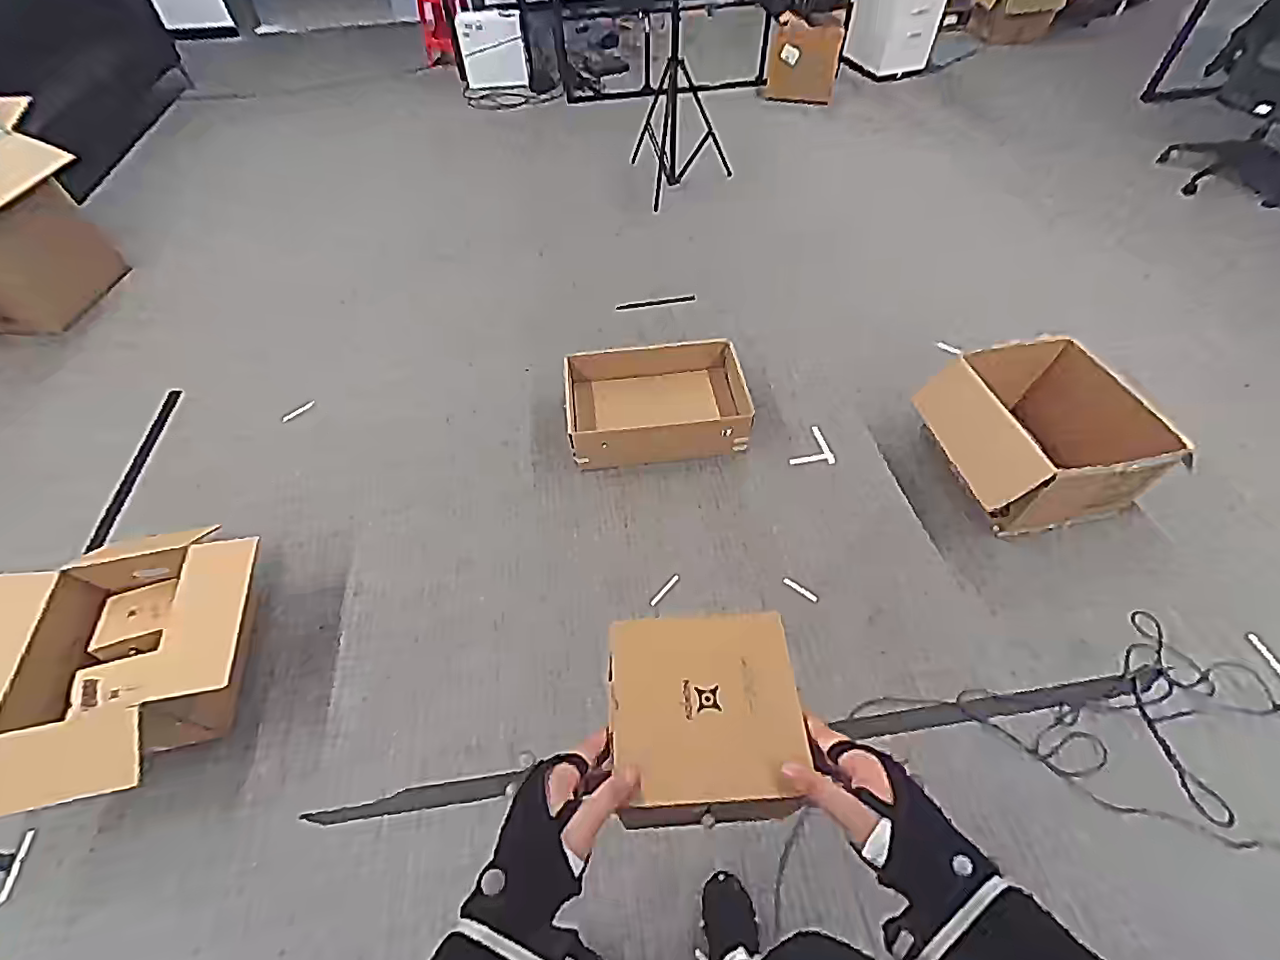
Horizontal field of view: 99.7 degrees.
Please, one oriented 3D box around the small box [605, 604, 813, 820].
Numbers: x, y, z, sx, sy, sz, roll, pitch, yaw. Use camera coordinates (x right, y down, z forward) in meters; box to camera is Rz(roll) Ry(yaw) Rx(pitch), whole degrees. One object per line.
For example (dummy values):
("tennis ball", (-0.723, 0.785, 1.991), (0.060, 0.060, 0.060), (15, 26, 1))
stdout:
("small box", (0.059, 0.246, 0.565), (0.179, 0.176, 0.168), (-4, 52, -1))
